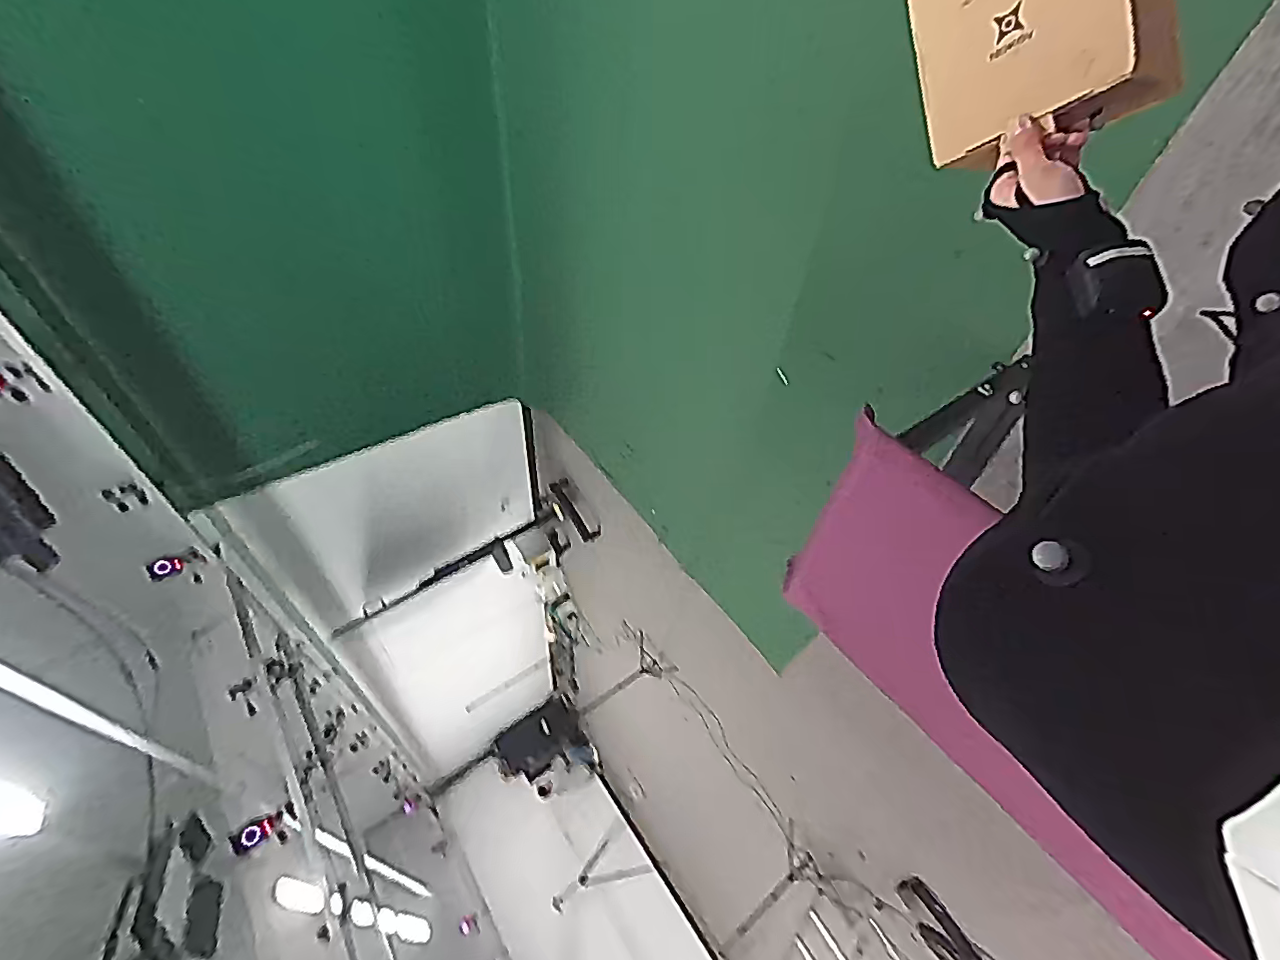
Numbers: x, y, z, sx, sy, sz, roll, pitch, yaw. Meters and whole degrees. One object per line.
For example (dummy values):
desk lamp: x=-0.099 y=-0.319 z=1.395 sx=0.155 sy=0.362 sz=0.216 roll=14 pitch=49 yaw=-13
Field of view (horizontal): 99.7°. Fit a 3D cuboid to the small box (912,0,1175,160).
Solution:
small box: x=0.405 y=-0.450 z=0.544 sx=0.168 sy=0.176 sz=0.179 roll=-1 pitch=106 yaw=54
